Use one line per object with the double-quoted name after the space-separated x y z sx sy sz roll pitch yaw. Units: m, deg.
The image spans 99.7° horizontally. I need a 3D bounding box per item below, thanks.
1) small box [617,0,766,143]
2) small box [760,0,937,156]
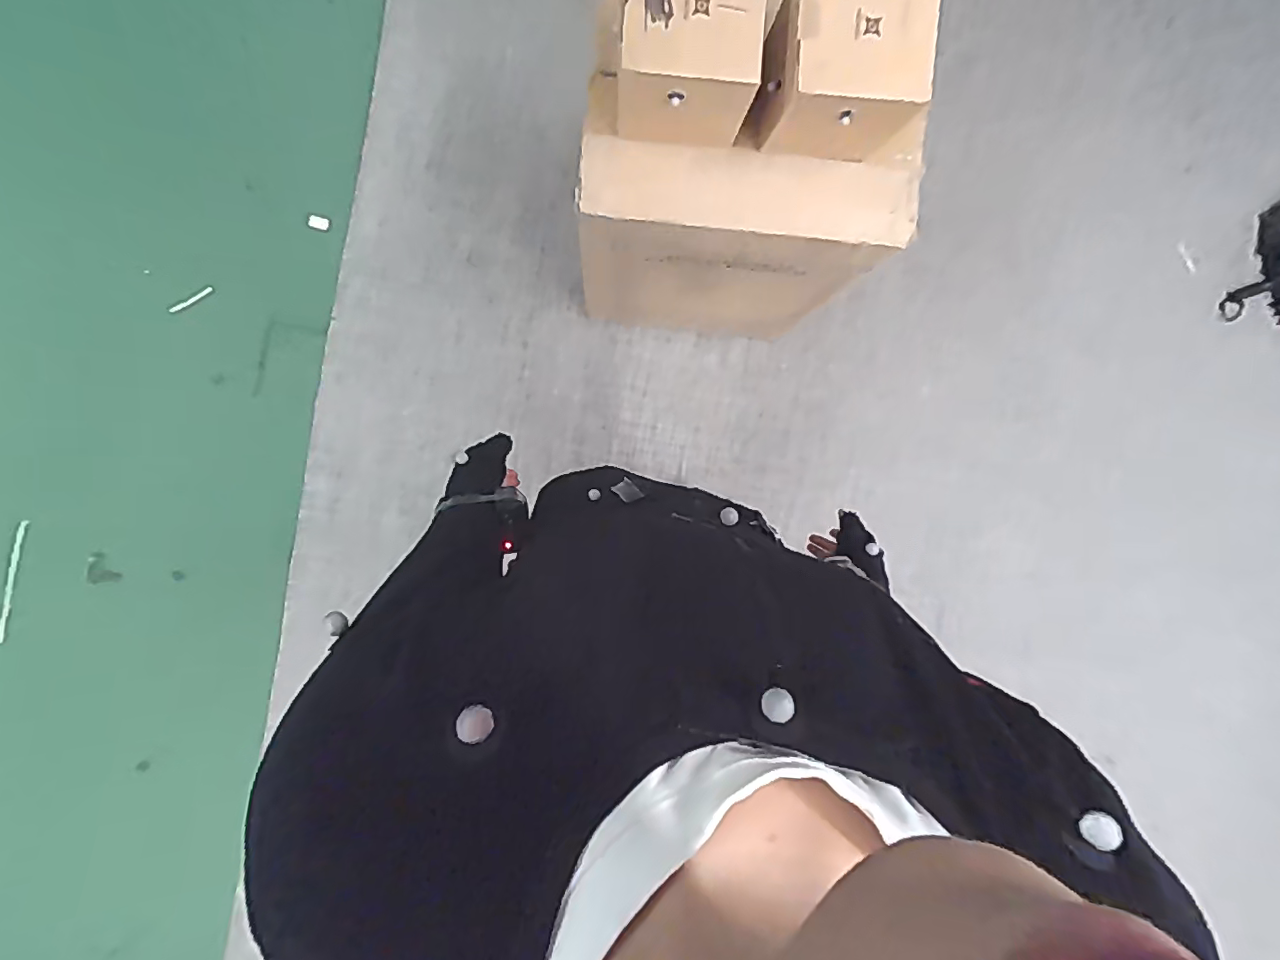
0.060 -0.584 0.729 0.179 0.176 0.168 3 97 -5 "small box"
0.274 -0.573 0.746 0.179 0.176 0.168 1 98 -5 "small box"
